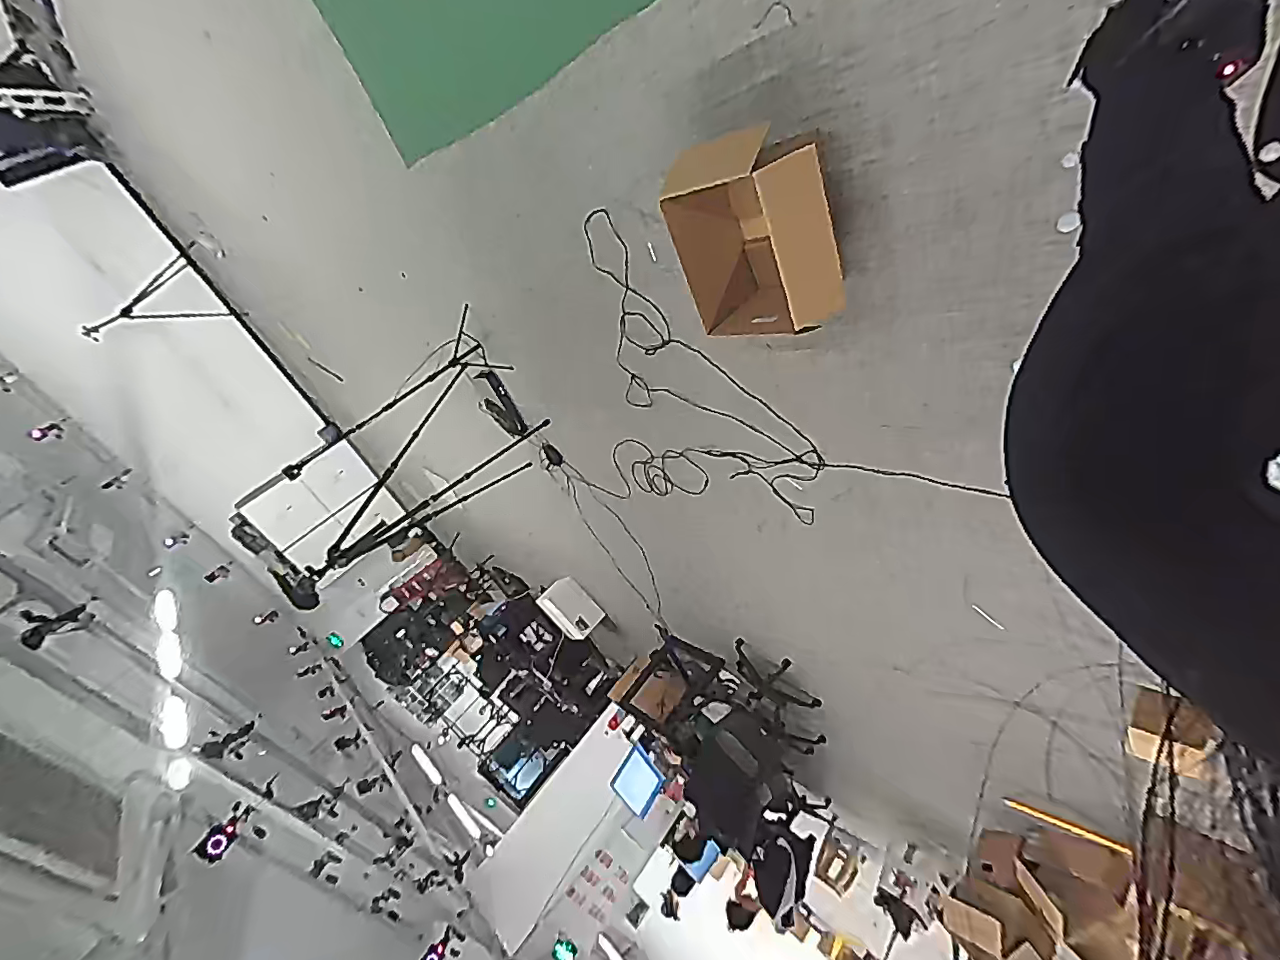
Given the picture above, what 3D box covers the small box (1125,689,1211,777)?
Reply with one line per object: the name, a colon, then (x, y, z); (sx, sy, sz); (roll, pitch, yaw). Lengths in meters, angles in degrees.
small box: (1.711, 0.810, 1.755); (0.179, 0.176, 0.168); (10, 136, 47)
